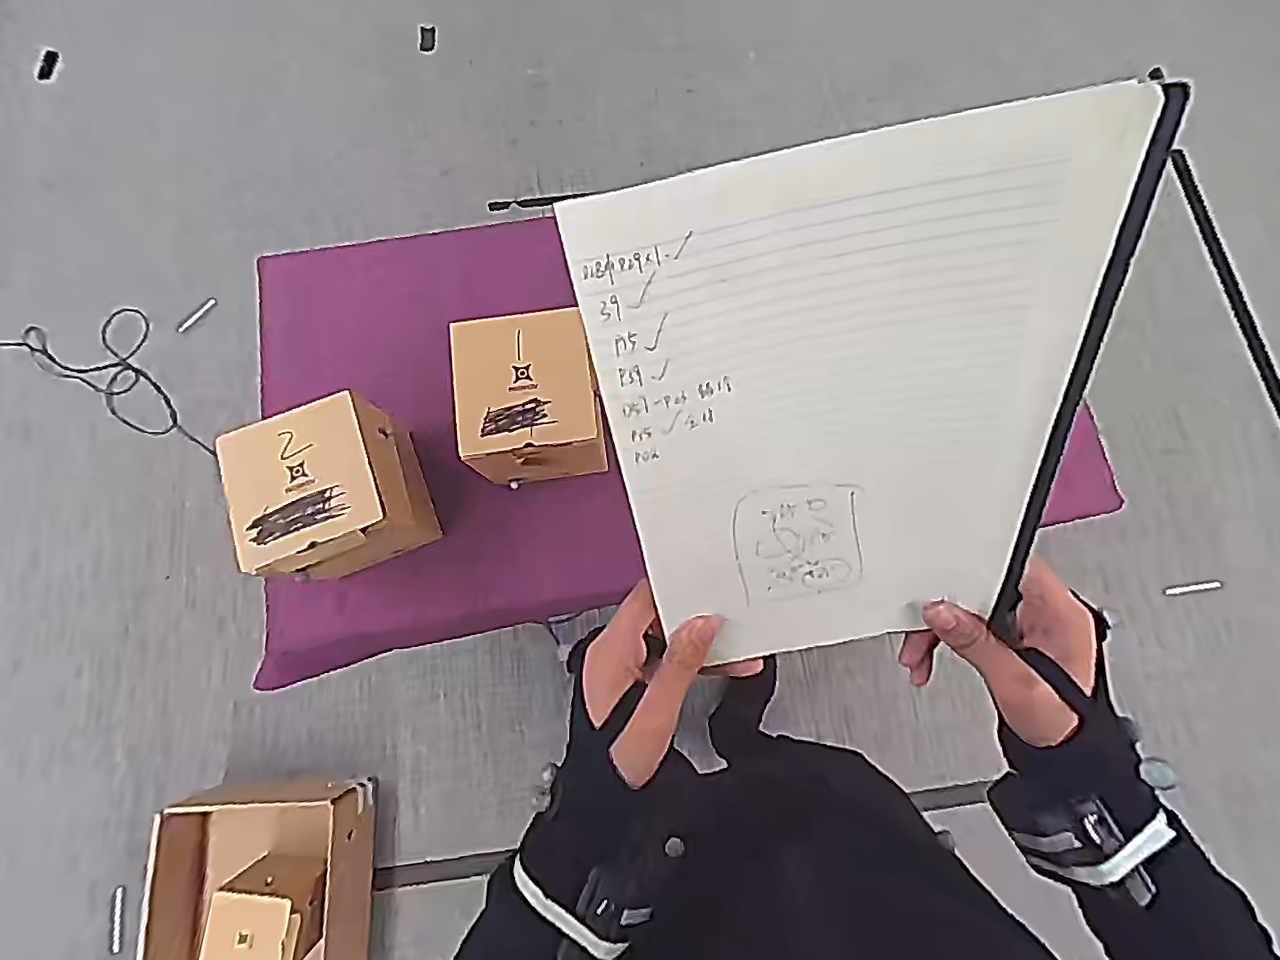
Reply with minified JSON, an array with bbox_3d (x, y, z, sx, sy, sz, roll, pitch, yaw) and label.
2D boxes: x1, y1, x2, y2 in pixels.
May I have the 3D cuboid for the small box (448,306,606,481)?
[{"bbox_3d":[-0.140,-0.101,0.718,0.168,0.176,0.179,-8,77,-1],"label":"small box"}]

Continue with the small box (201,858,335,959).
[{"bbox_3d":[-0.814,0.972,1.197,0.179,0.176,0.168,5,79,1],"label":"small box"}]
